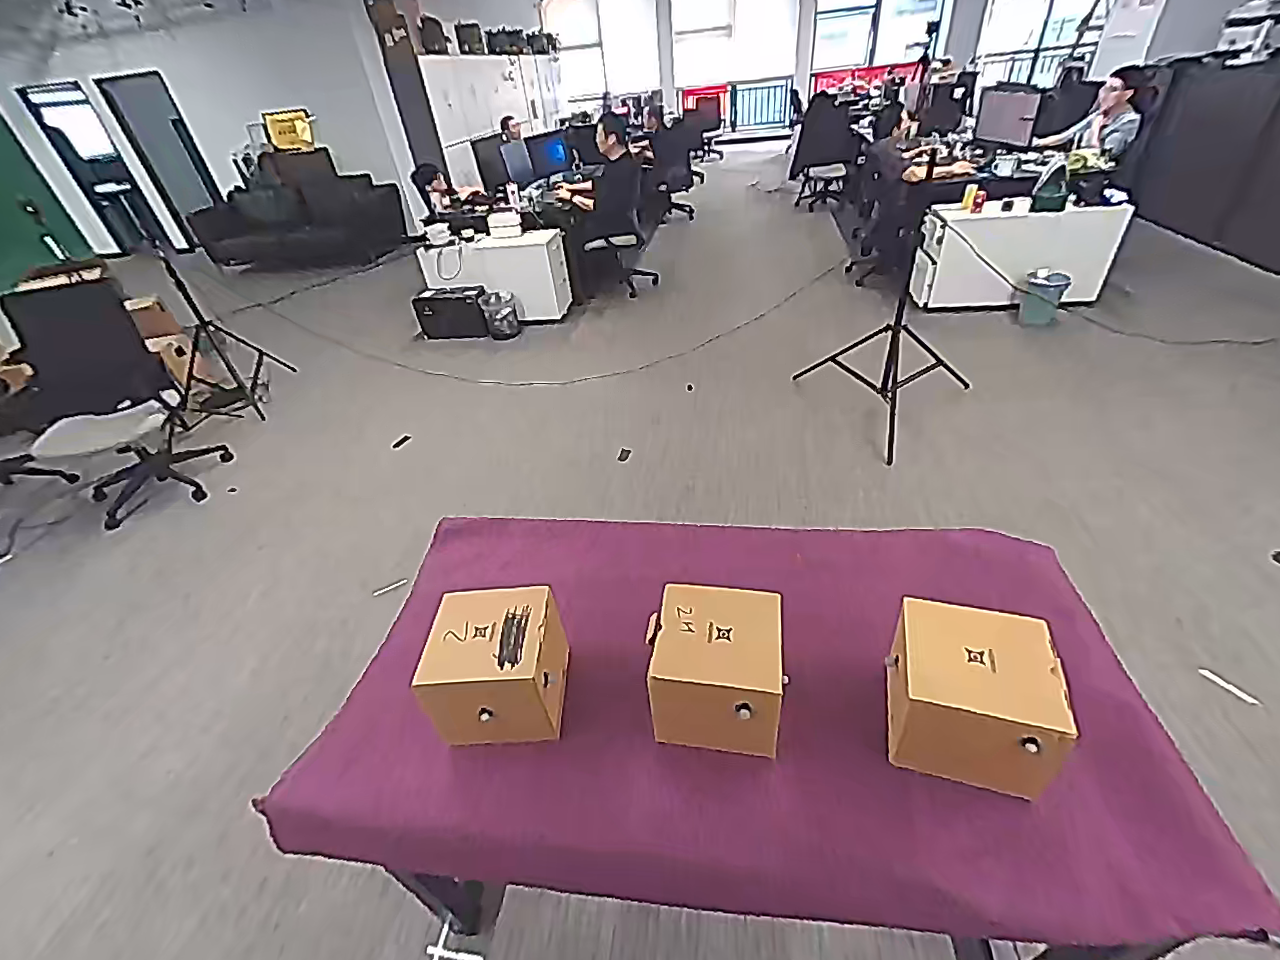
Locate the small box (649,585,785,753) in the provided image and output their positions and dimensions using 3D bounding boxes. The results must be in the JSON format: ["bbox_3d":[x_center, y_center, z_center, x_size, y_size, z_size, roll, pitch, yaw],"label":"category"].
[{"bbox_3d":[0.119,0.280,0.803,0.179,0.176,0.168,2,37,12],"label":"small box"}]

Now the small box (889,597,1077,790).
[{"bbox_3d":[0.443,0.288,0.736,0.179,0.176,0.168,6,39,18],"label":"small box"}]
